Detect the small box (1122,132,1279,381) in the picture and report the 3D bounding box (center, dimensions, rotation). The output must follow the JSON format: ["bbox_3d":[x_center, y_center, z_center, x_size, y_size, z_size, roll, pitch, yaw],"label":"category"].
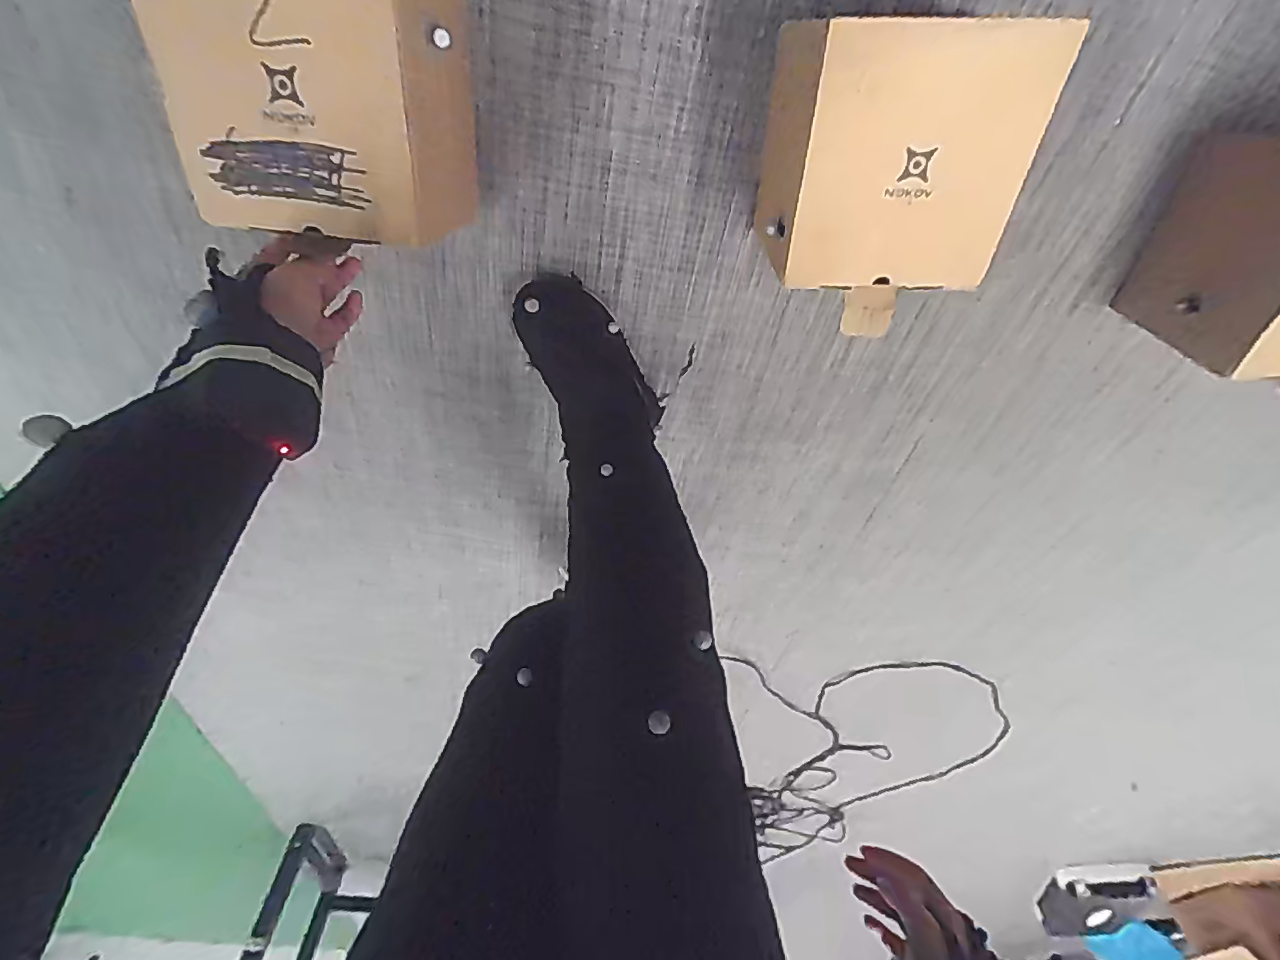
[{"bbox_3d":[0.616,-0.212,0.506,0.168,0.176,0.179,-3,129,2],"label":"small box"}]

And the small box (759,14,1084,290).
[{"bbox_3d":[0.203,-0.278,0.458,0.168,0.176,0.179,1,131,1],"label":"small box"}]
